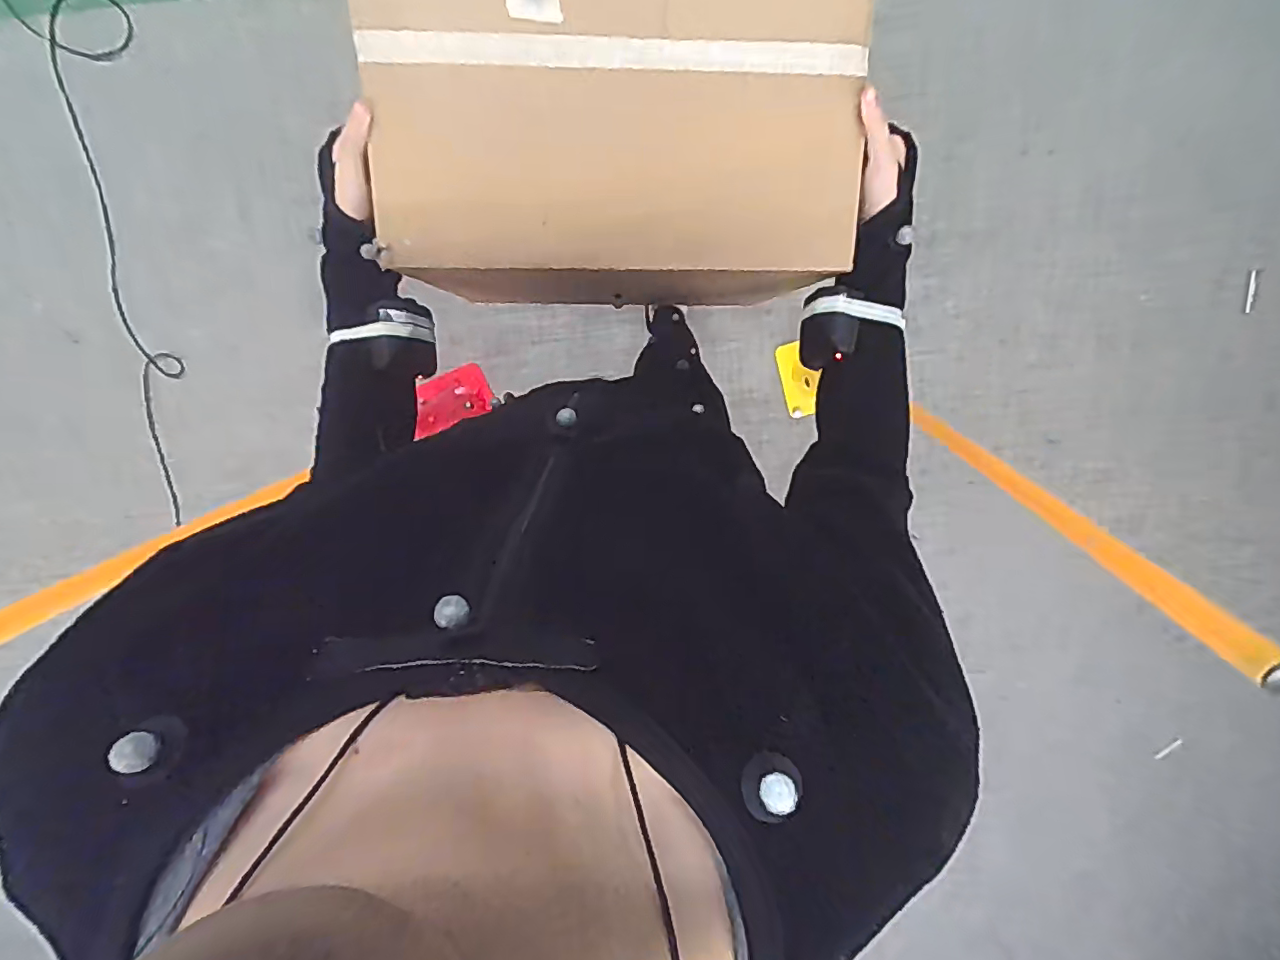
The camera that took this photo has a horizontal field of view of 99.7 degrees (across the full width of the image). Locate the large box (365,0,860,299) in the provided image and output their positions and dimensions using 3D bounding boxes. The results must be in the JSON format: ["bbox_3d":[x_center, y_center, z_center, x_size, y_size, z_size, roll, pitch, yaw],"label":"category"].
[{"bbox_3d":[-0.024,-0.370,0.587,0.408,0.320,0.320,-1,102,-3],"label":"large box"}]
